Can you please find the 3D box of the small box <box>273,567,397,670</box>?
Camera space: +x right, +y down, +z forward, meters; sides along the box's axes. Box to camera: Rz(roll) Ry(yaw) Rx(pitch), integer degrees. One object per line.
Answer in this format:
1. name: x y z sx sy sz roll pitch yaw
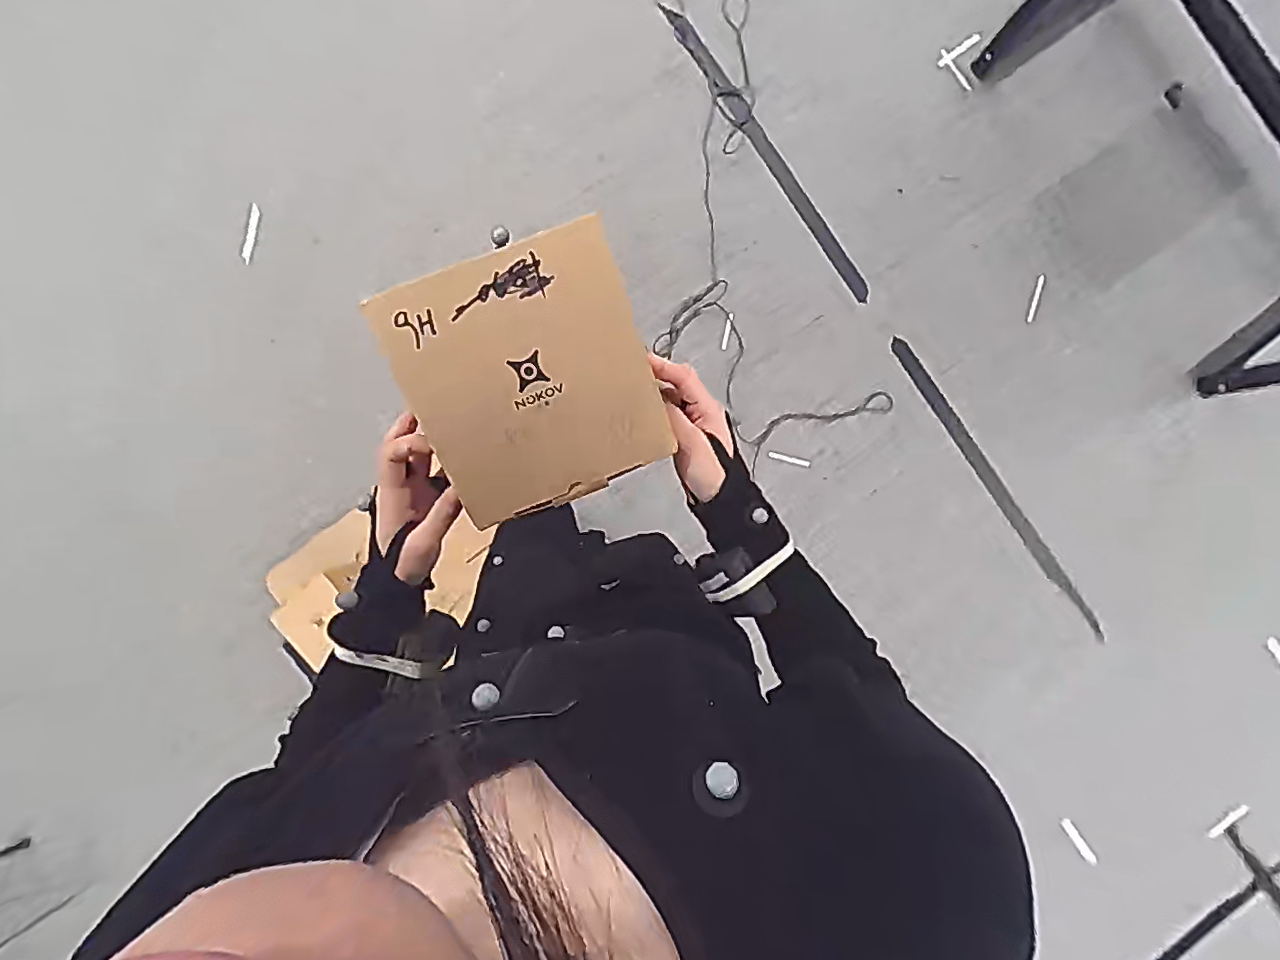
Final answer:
1. small box: -0.753 0.335 1.355 0.168 0.176 0.179 -42 92 -2
